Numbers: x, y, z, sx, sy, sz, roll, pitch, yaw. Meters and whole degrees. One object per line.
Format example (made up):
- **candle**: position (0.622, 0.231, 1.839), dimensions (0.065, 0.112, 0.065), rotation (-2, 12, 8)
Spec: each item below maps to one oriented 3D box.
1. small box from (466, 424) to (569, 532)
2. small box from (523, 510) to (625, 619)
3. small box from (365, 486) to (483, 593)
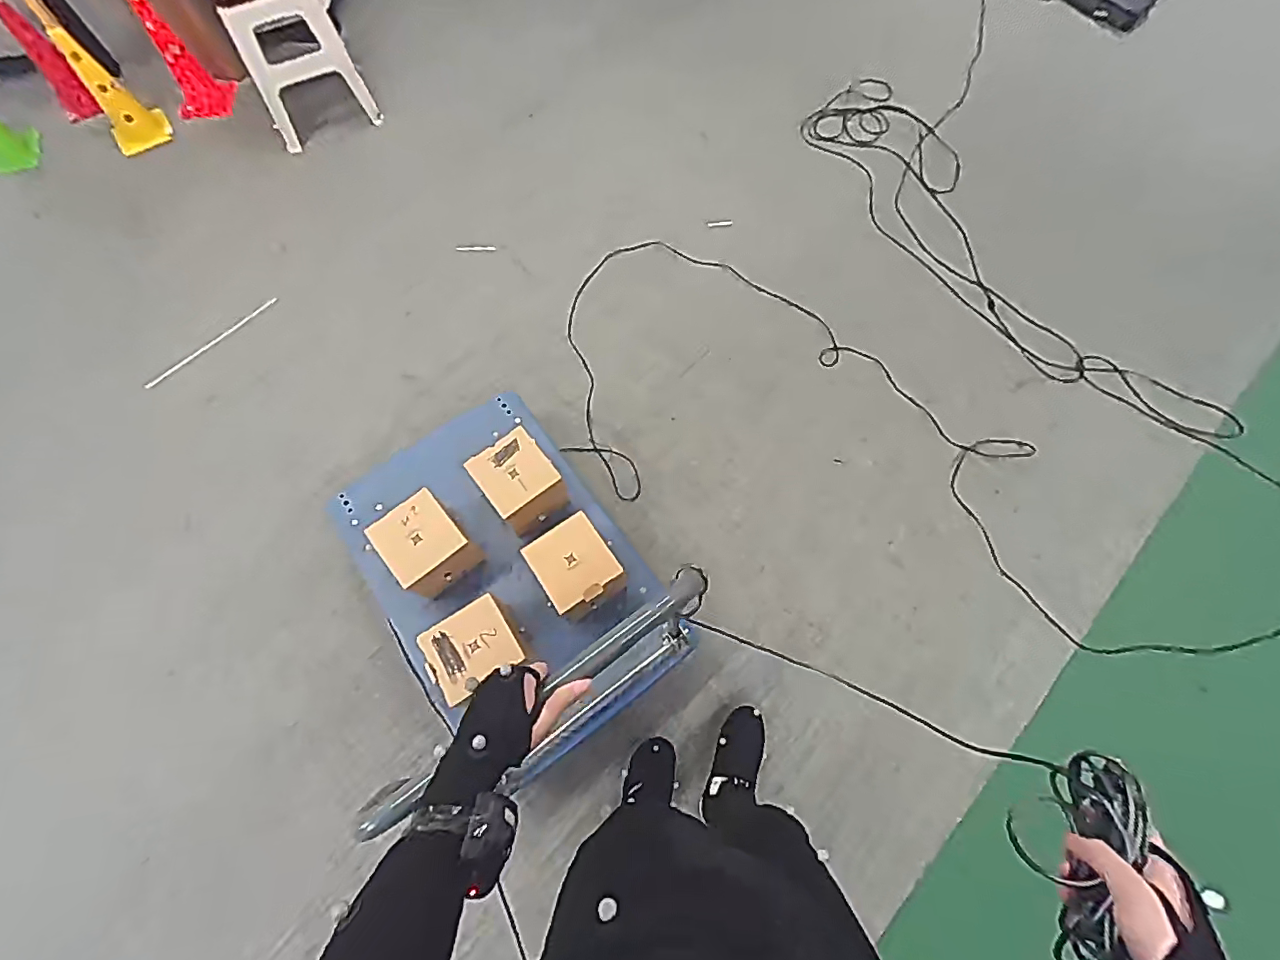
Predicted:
- **small box**: position (-0.294, 0.001, 1.328), dimensions (0.168, 0.176, 0.179), rotation (-36, 75, -12)
- **small box**: position (-0.148, 0.202, 1.257), dimensions (0.168, 0.176, 0.179), rotation (-33, 74, -12)
- **small box**: position (-0.497, 0.149, 1.273), dimensions (0.168, 0.176, 0.179), rotation (-38, 74, -14)
